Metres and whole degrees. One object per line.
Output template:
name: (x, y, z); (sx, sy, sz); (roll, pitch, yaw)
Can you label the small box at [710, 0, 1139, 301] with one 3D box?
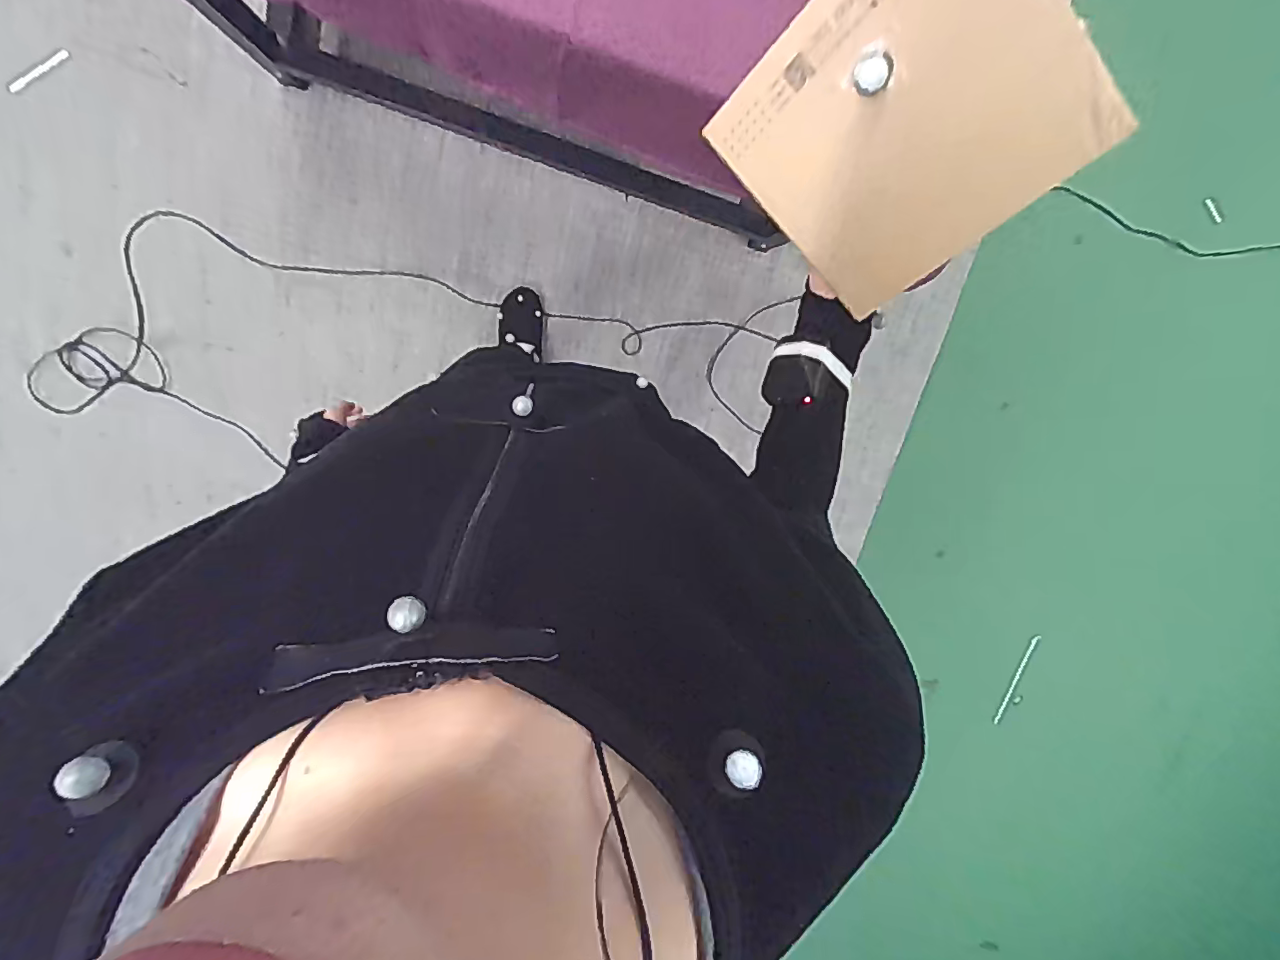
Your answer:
small box: (0.174, -0.265, 0.366); (0.176, 0.179, 0.168); (43, 133, -14)
